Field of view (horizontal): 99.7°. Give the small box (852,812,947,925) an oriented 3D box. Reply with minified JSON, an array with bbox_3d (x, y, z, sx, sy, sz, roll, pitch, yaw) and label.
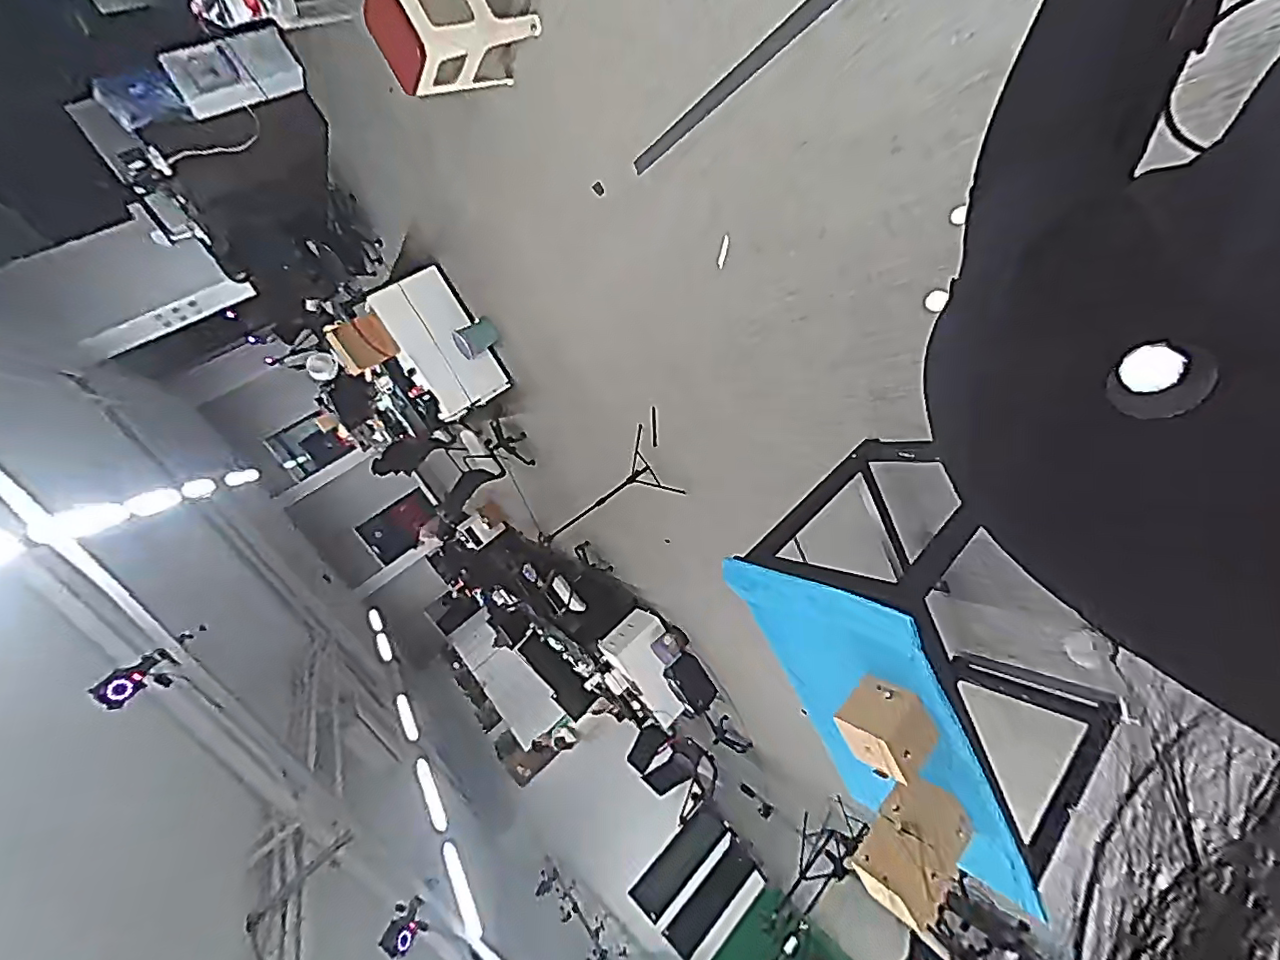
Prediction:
[{"bbox_3d":[0.746,1.126,1.567,0.168,0.176,0.179,6,129,60],"label":"small box"}]

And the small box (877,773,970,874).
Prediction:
[{"bbox_3d":[0.863,1.034,1.644,0.179,0.176,0.168,6,130,57],"label":"small box"}]

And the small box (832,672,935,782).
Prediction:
[{"bbox_3d":[0.668,0.666,1.474,0.168,0.176,0.179,4,128,60],"label":"small box"}]
